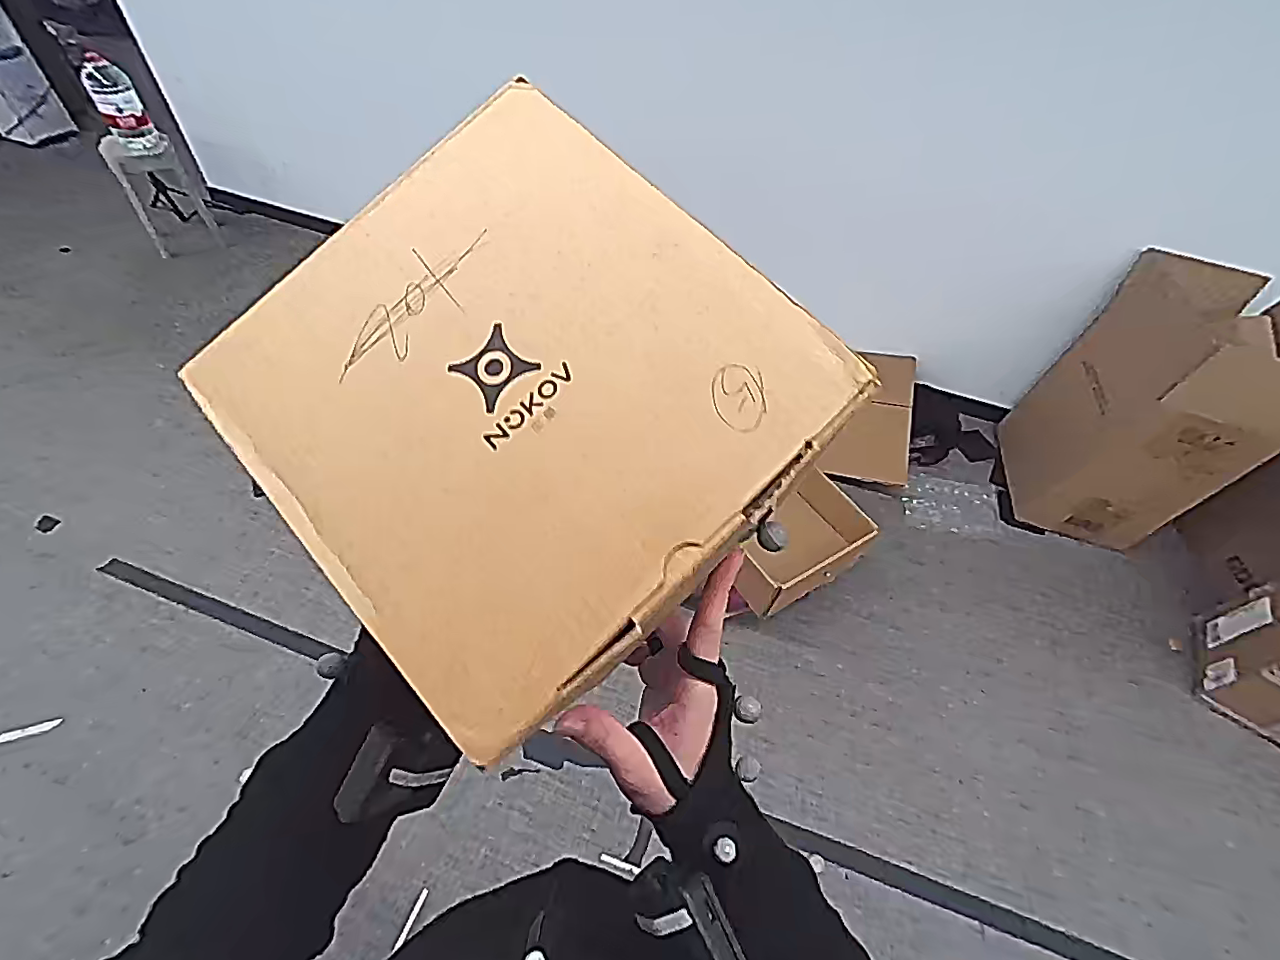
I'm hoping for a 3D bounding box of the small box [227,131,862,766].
[{"bbox_3d":[-0.032,-0.009,0.268,0.168,0.176,0.179,-44,76,-4],"label":"small box"}]
